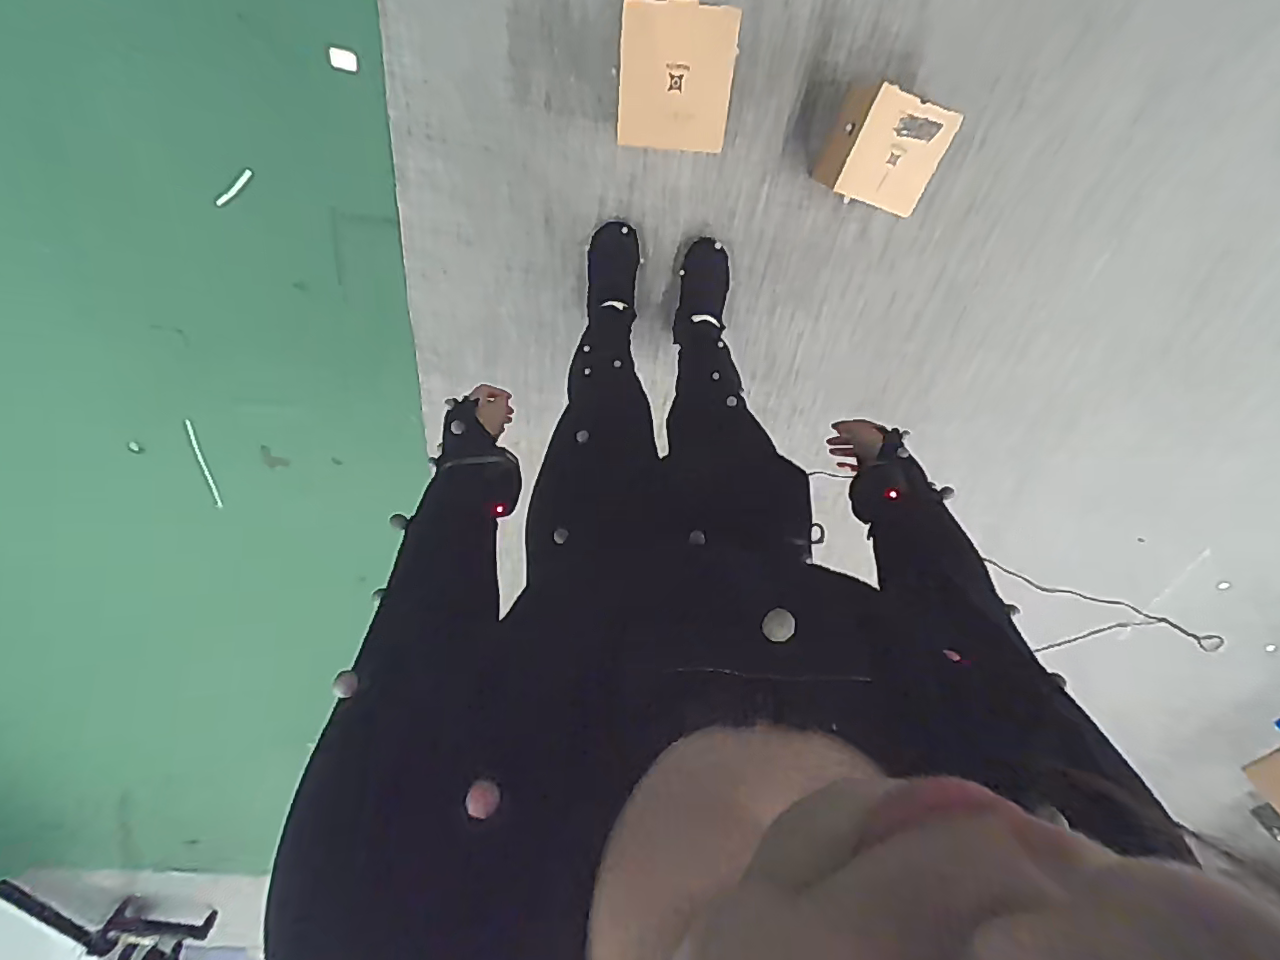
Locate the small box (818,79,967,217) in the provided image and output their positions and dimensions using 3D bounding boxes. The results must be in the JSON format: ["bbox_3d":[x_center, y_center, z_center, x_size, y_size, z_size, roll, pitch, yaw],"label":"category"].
[{"bbox_3d":[0.465,-0.635,1.032,0.168,0.176,0.179,14,125,-10],"label":"small box"}]

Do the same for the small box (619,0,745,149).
[{"bbox_3d":[0.056,-0.627,0.837,0.168,0.176,0.179,3,126,-2],"label":"small box"}]
